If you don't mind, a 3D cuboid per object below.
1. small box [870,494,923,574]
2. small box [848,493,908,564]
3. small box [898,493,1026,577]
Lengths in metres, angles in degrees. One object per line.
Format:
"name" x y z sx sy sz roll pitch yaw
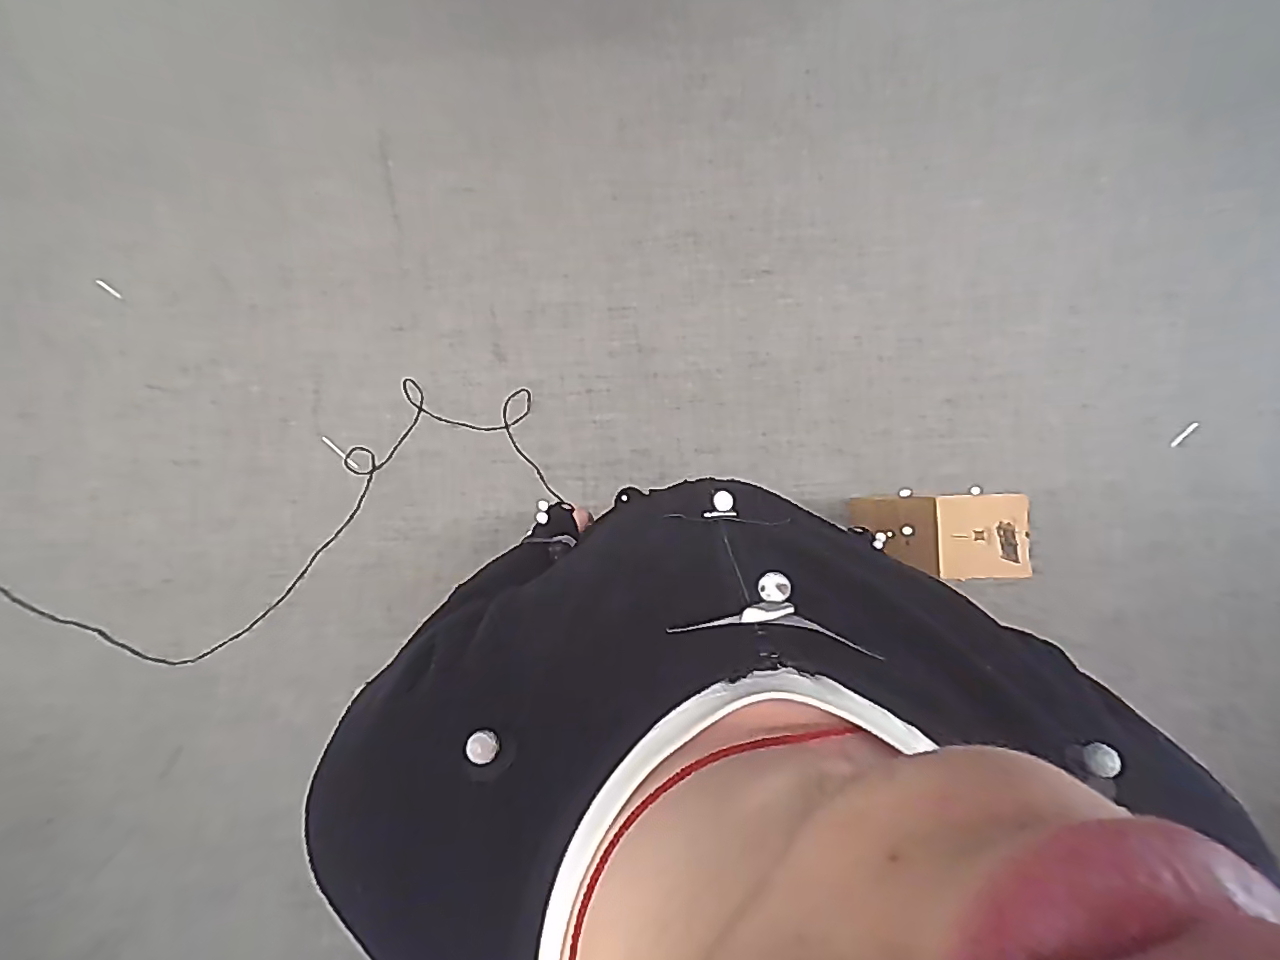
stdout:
"small box" 0.671 0.123 1.309 0.168 0.176 0.179 -3 91 2
"small box" 0.677 0.127 1.470 0.168 0.176 0.179 -2 89 1
"small box" 0.672 0.110 1.143 0.179 0.176 0.168 -1 88 3
